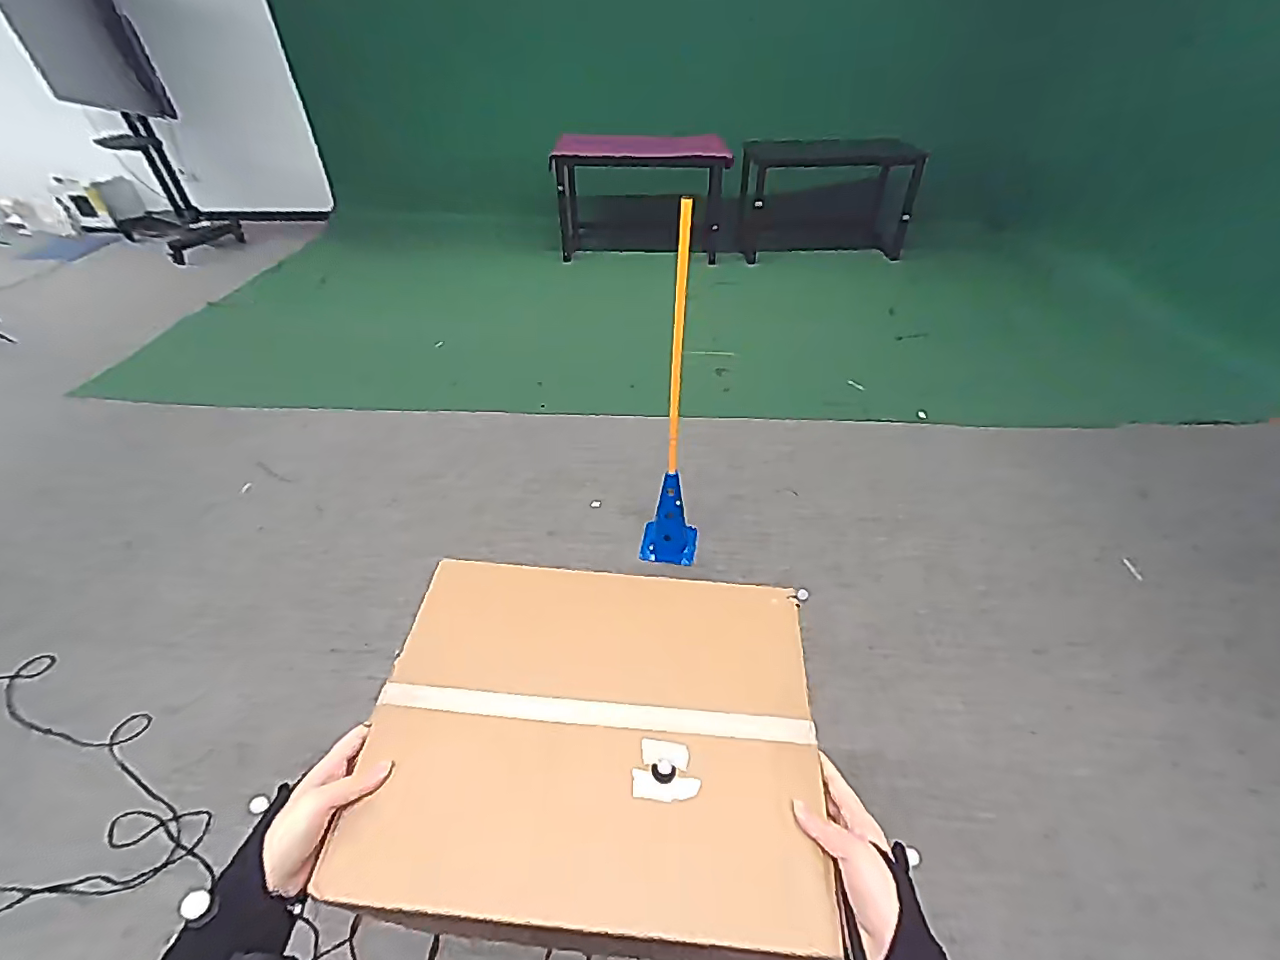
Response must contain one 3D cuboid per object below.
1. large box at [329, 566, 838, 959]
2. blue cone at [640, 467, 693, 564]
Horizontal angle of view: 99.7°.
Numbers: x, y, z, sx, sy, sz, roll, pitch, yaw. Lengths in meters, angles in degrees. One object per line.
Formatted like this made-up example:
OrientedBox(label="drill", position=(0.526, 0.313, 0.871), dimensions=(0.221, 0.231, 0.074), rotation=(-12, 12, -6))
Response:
OrientedBox(label="large box", position=(-0.043, 0.326, 0.623), dimensions=(0.408, 0.320, 0.320), rotation=(5, 47, 1))
OrientedBox(label="blue cone", position=(0.101, 0.114, 1.942), dimensions=(0.193, 0.380, 0.192), rotation=(7, 41, 8))
